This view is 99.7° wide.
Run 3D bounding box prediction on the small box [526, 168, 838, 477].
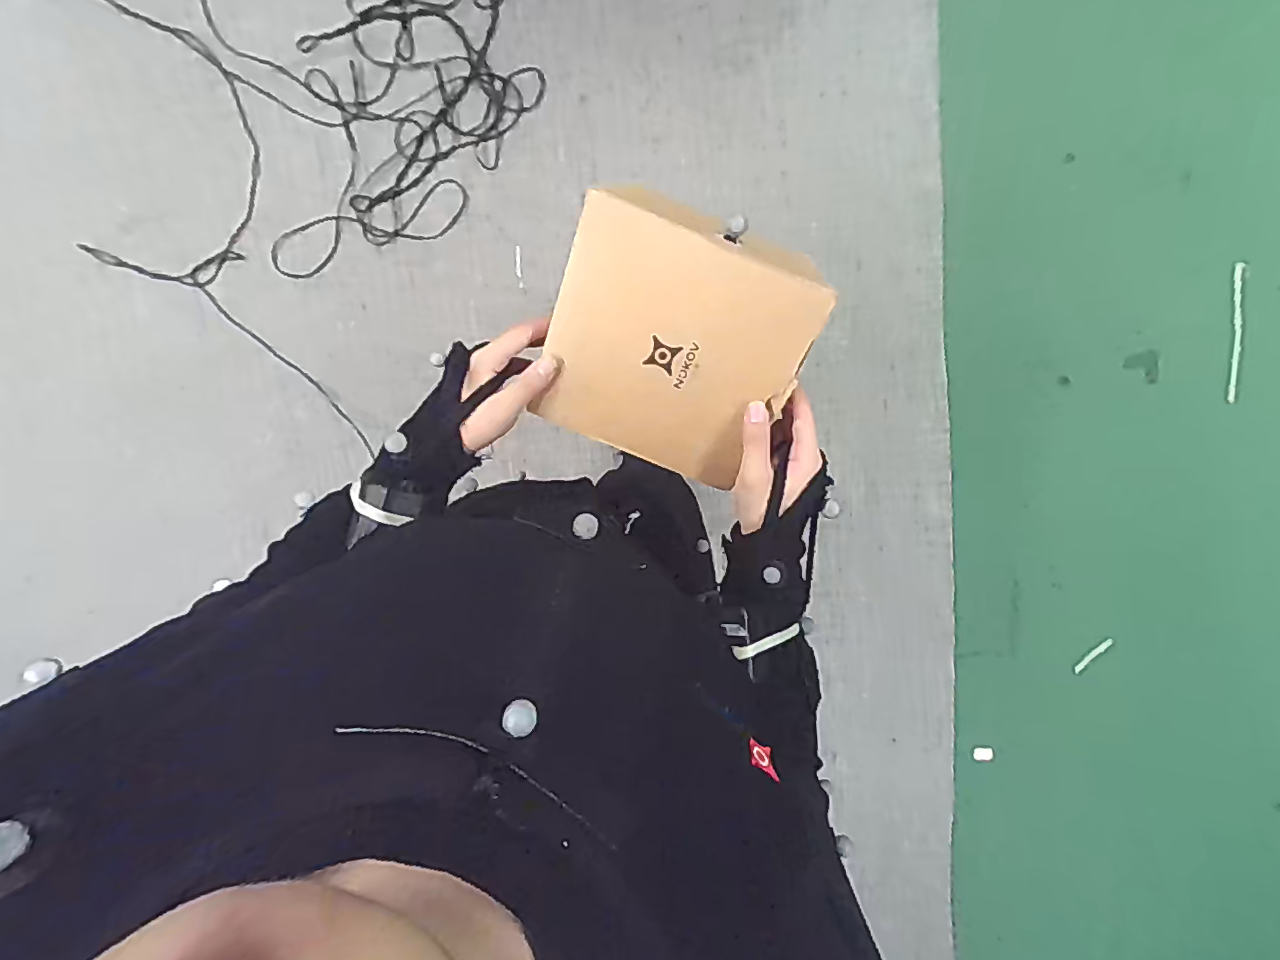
[{"bbox_3d":[0.030,-0.135,0.446,0.179,0.176,0.168,21,121,-4],"label":"small box"}]
